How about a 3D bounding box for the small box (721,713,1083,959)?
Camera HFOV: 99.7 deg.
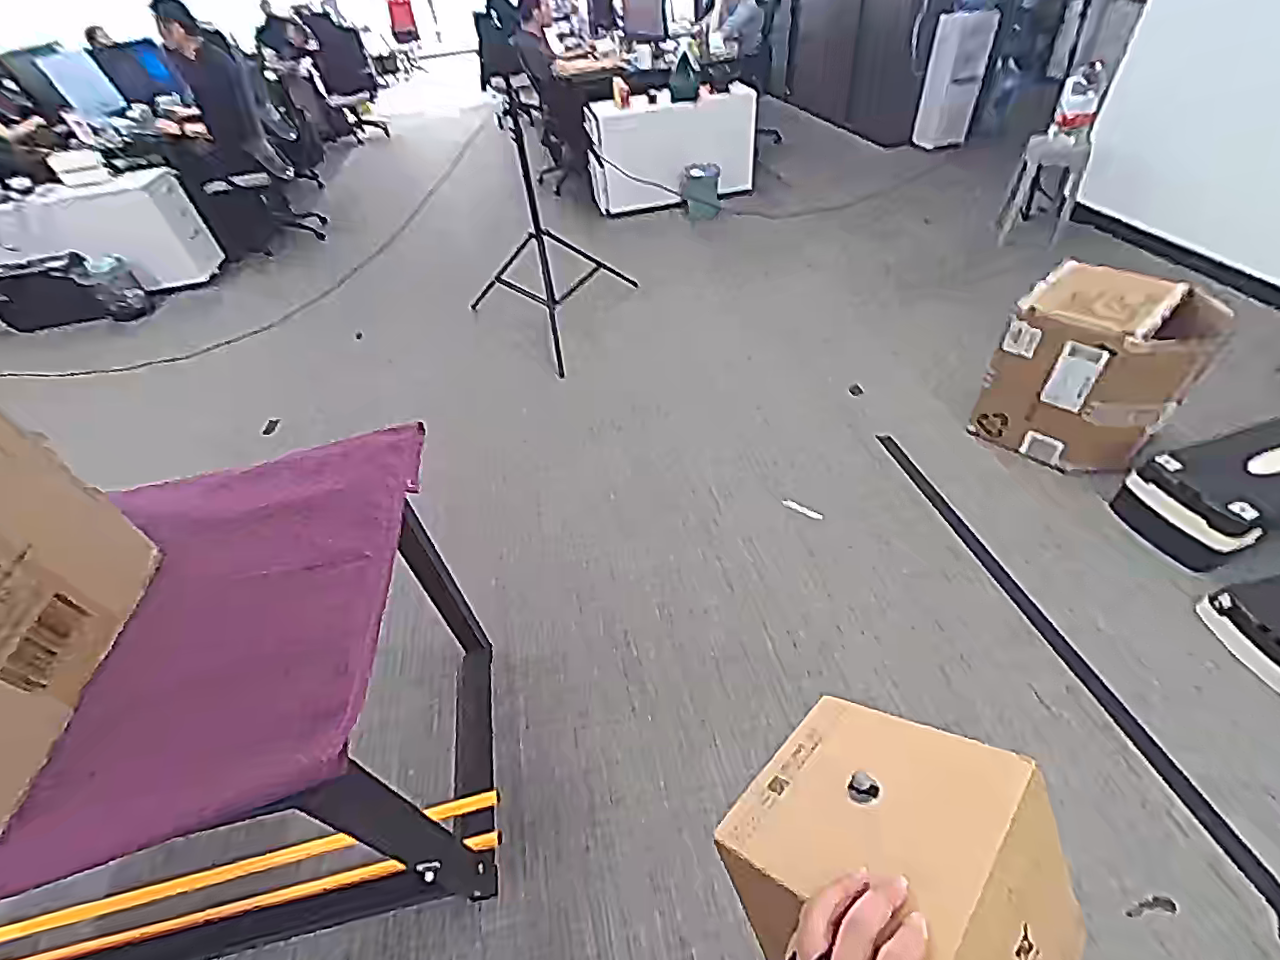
[{"bbox_3d":[0.188,0.301,0.401,0.168,0.179,0.176,-31,14,-33],"label":"small box"}]
